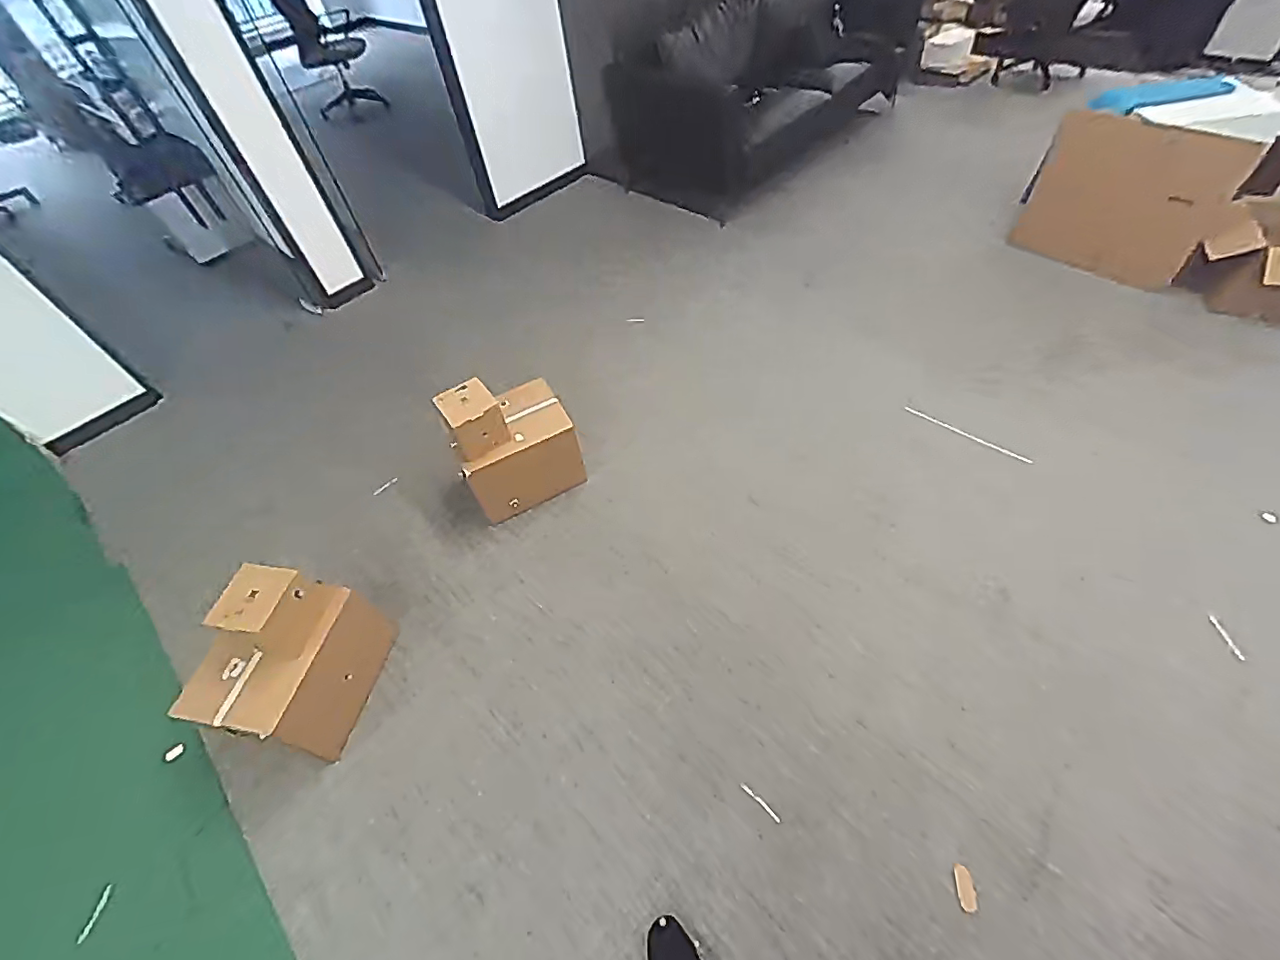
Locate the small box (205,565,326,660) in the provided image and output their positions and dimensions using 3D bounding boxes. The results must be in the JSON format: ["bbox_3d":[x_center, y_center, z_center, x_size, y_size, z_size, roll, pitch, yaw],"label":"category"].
[{"bbox_3d":[-0.965,0.348,1.419,0.168,0.176,0.179,5,52,10],"label":"small box"}]

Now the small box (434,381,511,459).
[{"bbox_3d":[-0.553,-0.192,1.808,0.168,0.176,0.179,-32,56,-18],"label":"small box"}]

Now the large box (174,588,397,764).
[{"bbox_3d":[-0.986,0.556,1.573,0.320,0.320,0.408,4,53,12],"label":"large box"}]
